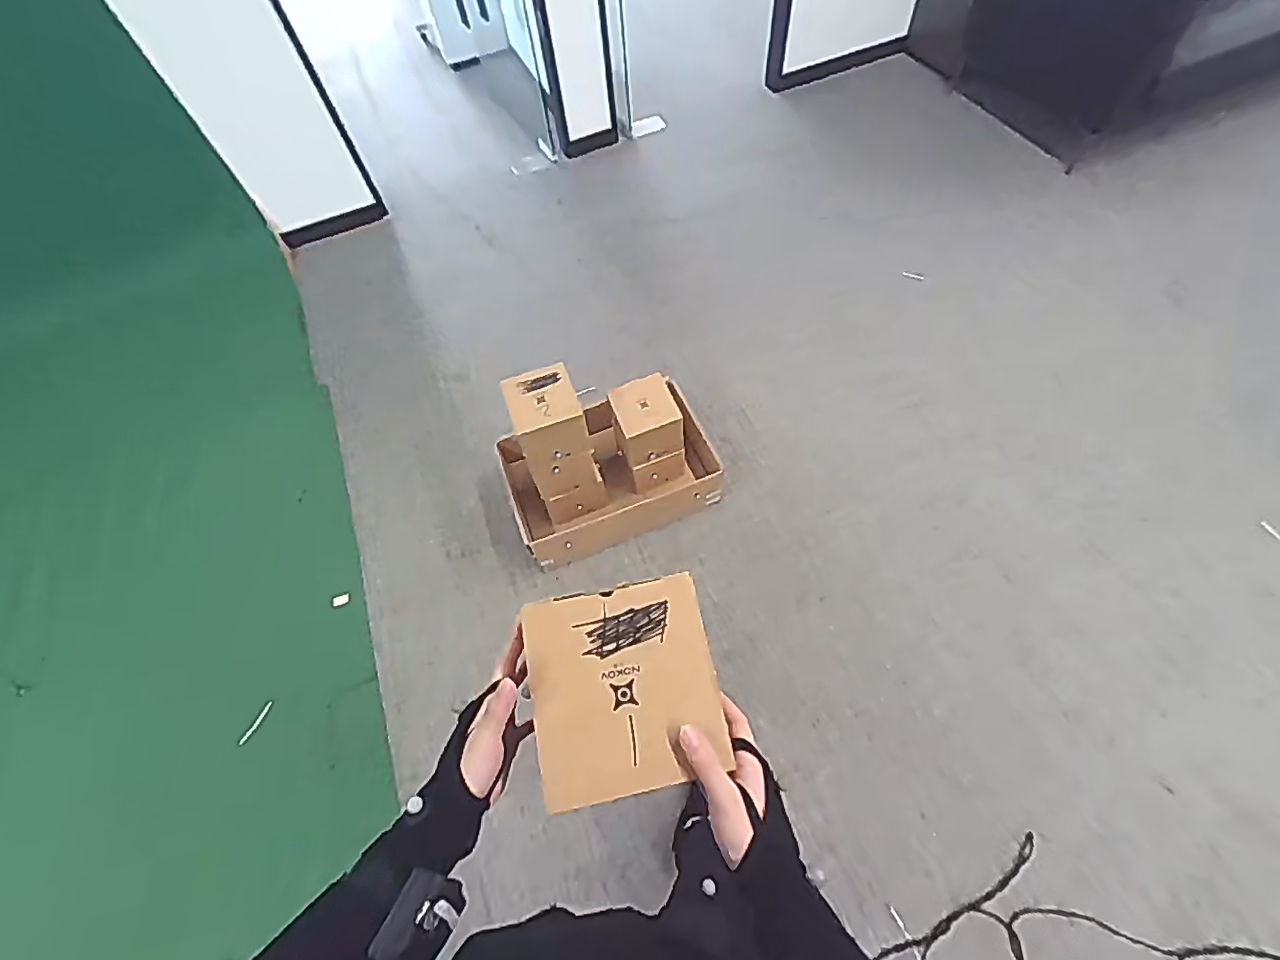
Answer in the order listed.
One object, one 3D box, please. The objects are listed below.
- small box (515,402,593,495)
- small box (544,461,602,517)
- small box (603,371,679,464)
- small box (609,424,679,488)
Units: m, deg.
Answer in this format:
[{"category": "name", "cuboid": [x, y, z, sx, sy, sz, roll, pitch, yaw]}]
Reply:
[{"category": "small box", "cuboid": [-0.238, -0.085, 1.519, 0.168, 0.176, 0.179, -18, 61, -6]}, {"category": "small box", "cuboid": [-0.226, -0.005, 1.663, 0.168, 0.176, 0.179, -21, 62, -10]}, {"category": "small box", "cuboid": [0.004, -0.177, 1.559, 0.168, 0.176, 0.179, -20, 62, -6]}, {"category": "small box", "cuboid": [0.017, -0.096, 1.701, 0.168, 0.176, 0.179, -21, 62, -8]}]
